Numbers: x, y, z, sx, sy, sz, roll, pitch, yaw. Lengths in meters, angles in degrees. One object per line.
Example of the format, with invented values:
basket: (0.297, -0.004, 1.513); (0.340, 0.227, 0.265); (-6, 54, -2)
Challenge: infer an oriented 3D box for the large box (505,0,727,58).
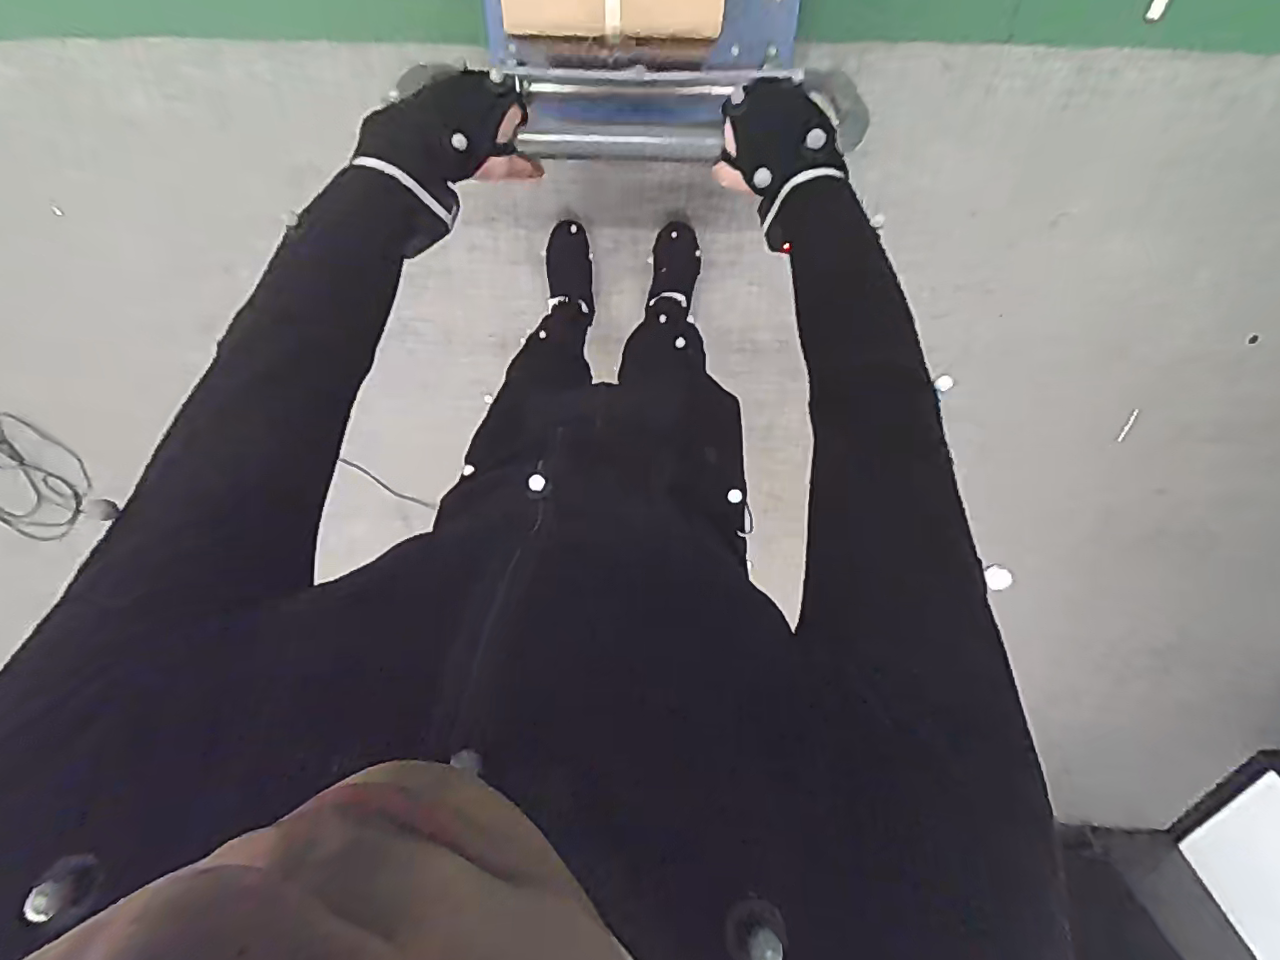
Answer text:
large box: (-0.027, -0.886, 0.790); (0.320, 0.320, 0.408); (2, 123, 1)
